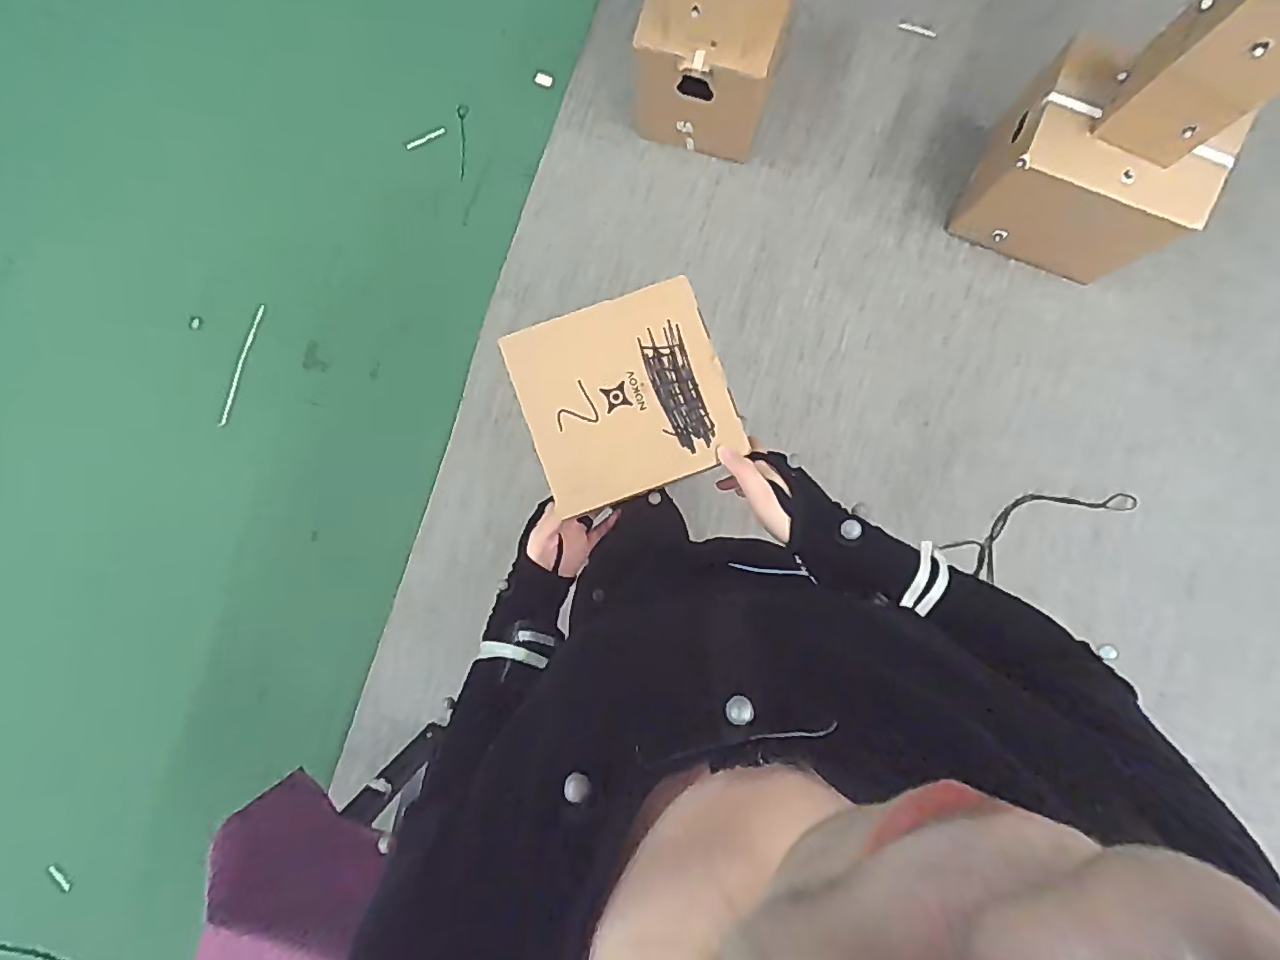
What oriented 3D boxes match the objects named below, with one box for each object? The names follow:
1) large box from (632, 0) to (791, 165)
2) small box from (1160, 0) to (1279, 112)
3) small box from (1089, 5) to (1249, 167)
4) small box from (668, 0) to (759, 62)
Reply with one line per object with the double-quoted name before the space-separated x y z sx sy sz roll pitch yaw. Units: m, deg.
"large box" 0.189 -1.104 1.368 0.320 0.320 0.408 17 88 3
"small box" 1.055 -0.766 0.904 0.179 0.176 0.168 28 88 4
"small box" 1.061 -0.762 1.069 0.179 0.176 0.168 27 88 3
"small box" 0.161 -1.025 1.122 0.168 0.176 0.179 19 88 3
